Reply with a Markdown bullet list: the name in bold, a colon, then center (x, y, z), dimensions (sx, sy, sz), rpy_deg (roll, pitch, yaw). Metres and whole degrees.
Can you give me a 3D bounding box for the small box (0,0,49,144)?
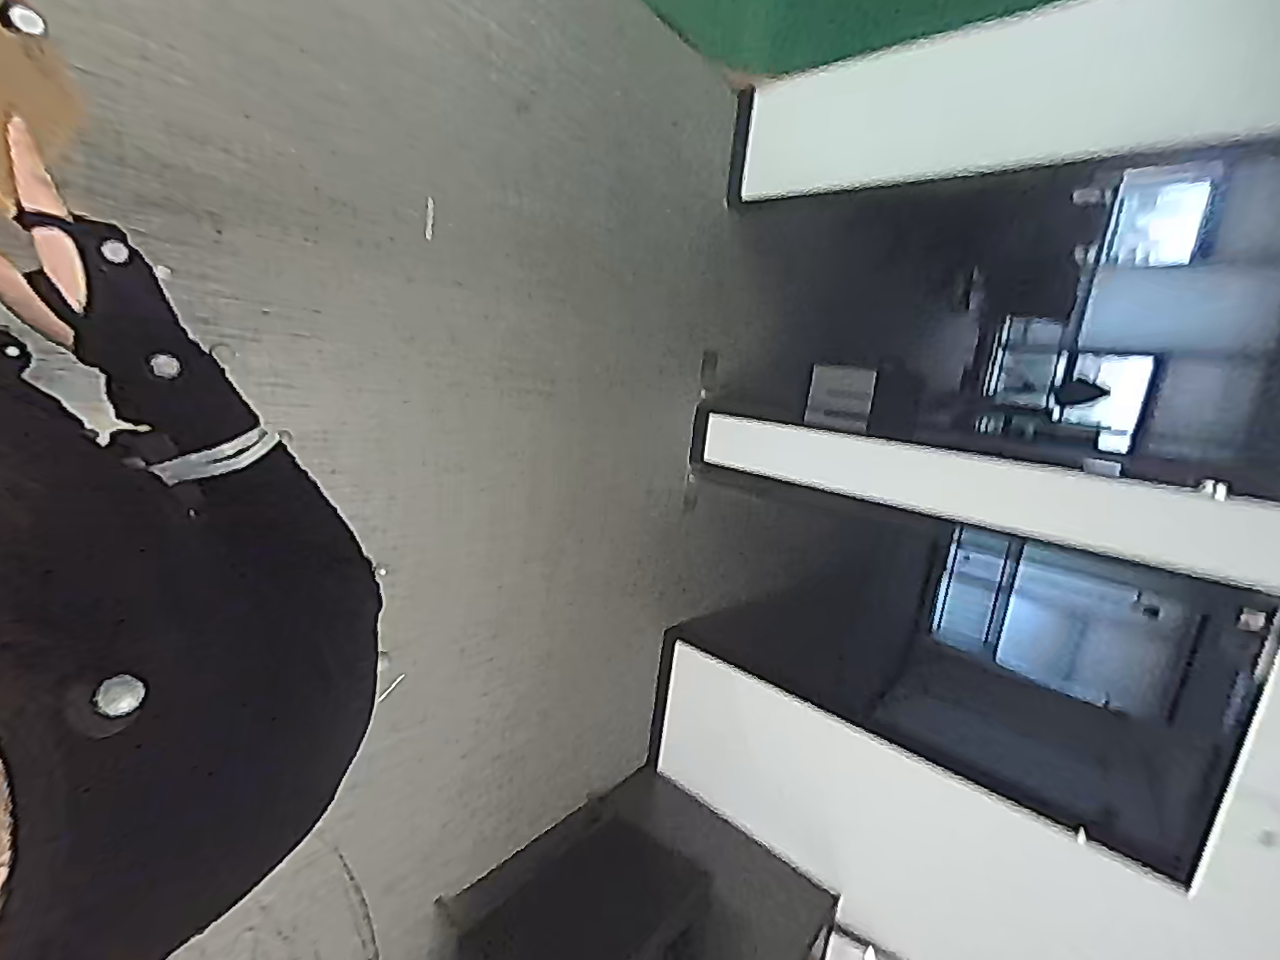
- **small box**: center (-0.483, -0.260, 0.277), dimensions (0.179, 0.176, 0.168), rpy_deg (-10, 147, -16)
